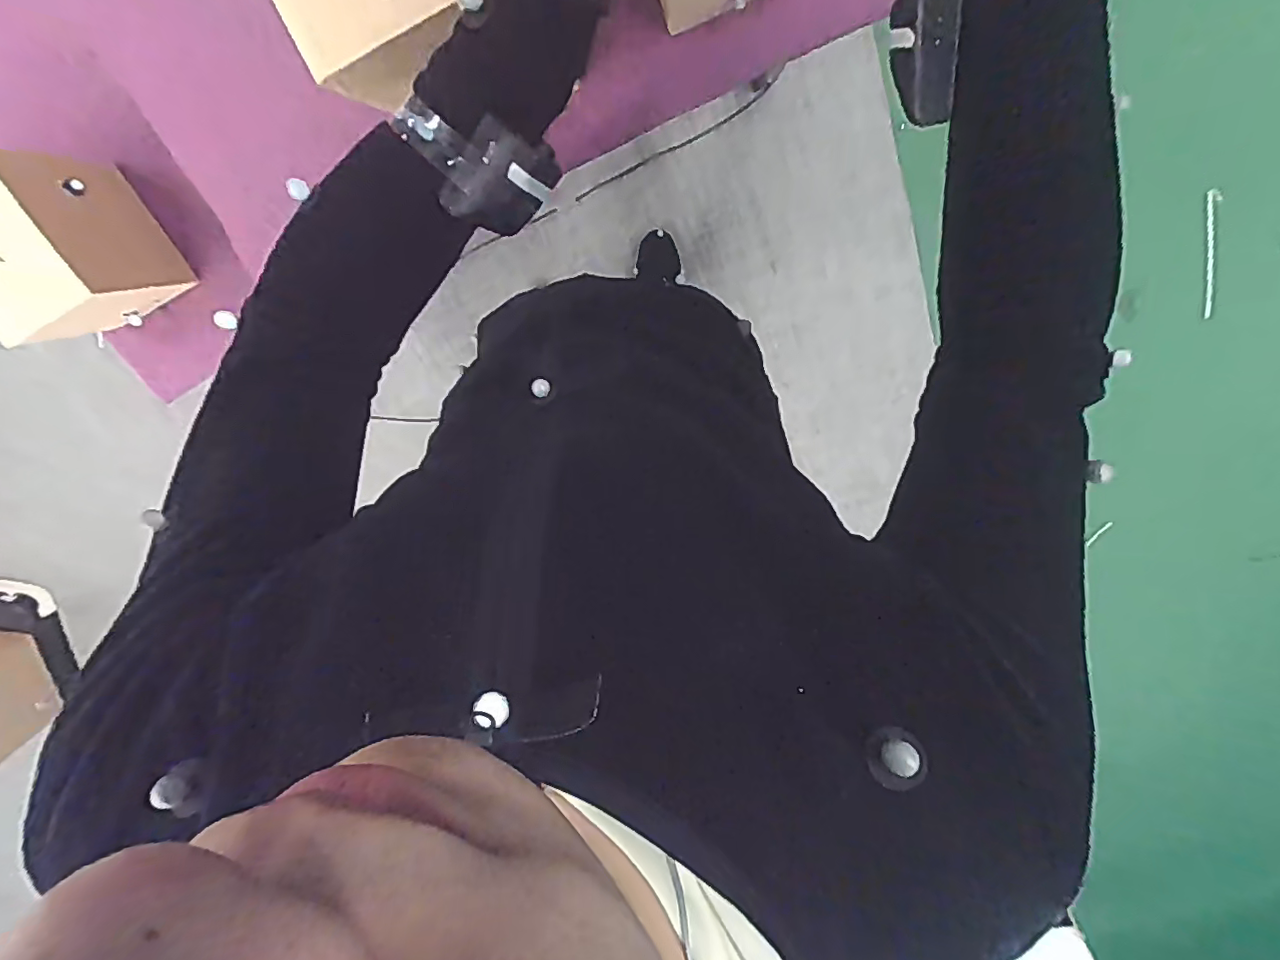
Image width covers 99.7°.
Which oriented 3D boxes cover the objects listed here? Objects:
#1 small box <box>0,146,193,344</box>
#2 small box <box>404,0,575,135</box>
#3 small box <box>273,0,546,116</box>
[{"bbox_3d":[-0.767,-0.304,0.714,0.168,0.176,0.179,-20,112,13],"label":"small box"},{"bbox_3d":[-0.186,-0.501,0.585,0.168,0.176,0.179,-19,112,13],"label":"small box"},{"bbox_3d":[-0.196,-0.434,0.435,0.168,0.176,0.179,-18,113,12],"label":"small box"}]
